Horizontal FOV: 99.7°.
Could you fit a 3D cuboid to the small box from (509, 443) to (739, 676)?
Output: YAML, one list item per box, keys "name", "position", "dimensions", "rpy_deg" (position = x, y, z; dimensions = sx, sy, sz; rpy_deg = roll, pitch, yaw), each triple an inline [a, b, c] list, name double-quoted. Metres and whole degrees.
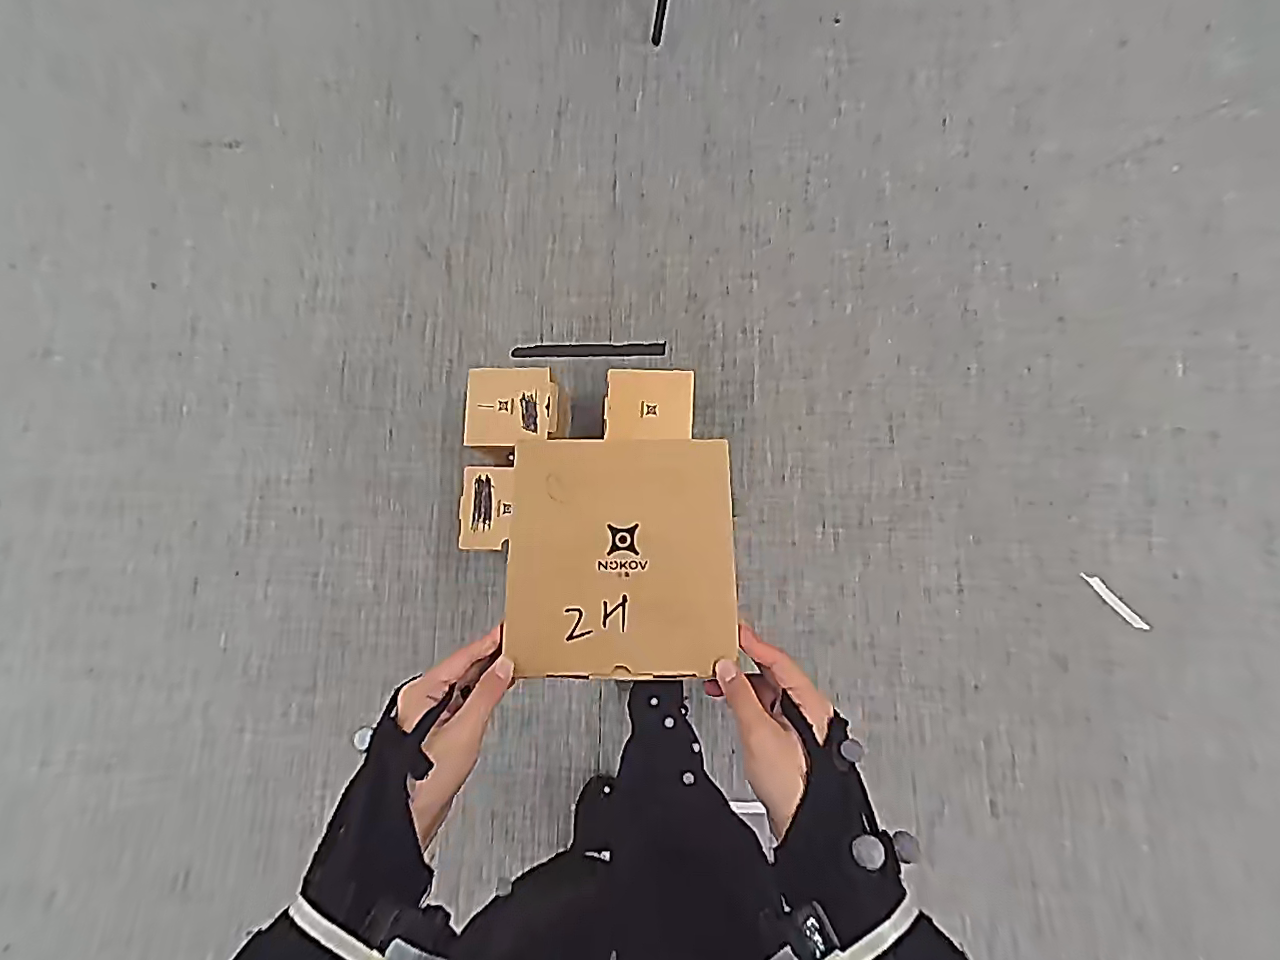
- name: "small box"
  position: [-0.011, 0.077, 0.480]
  dimensions: [0.168, 0.176, 0.179]
  rpy_deg: [0, 74, 0]

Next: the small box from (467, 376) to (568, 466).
- name: "small box"
  position: [-0.258, -0.123, 1.182]
  dimensions: [0.179, 0.176, 0.168]
  rpy_deg: [1, 82, 4]

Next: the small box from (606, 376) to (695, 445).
- name: "small box"
  position: [0.026, -0.117, 1.166]
  dimensions: [0.179, 0.176, 0.168]
  rpy_deg: [2, 82, 4]
